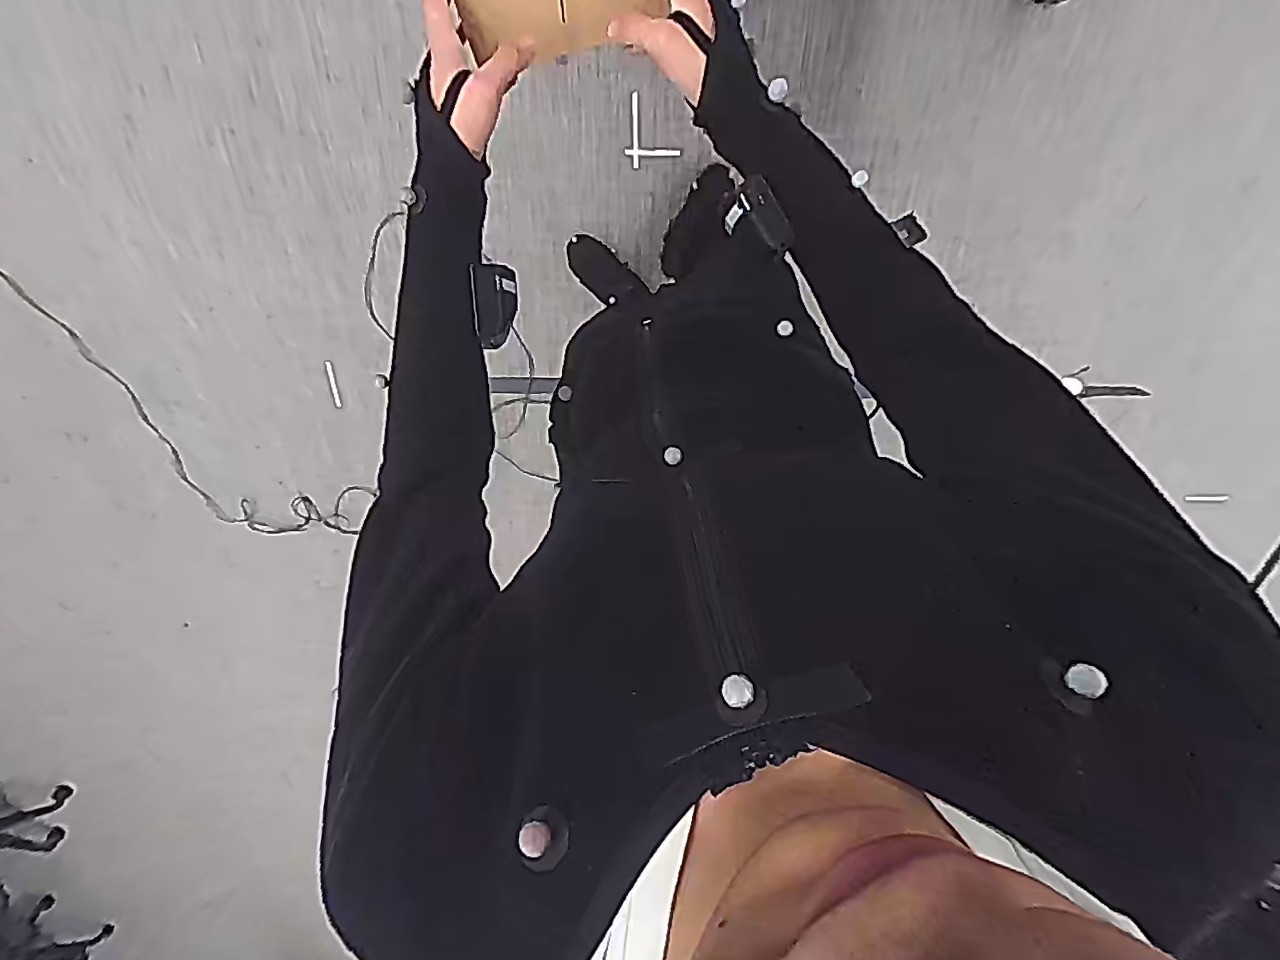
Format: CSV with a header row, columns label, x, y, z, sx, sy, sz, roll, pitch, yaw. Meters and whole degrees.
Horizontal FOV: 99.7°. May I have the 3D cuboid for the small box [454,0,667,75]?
label,x,y,z,sx,sy,sz,roll,pitch,yaw
small box,-0.087,-0.470,0.448,0.168,0.176,0.179,-16,134,1

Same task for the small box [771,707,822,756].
label,x,y,z,sx,sy,sz,roll,pitch,yaw
small box,0.671,1.112,2.337,0.168,0.176,0.179,-4,119,-1
